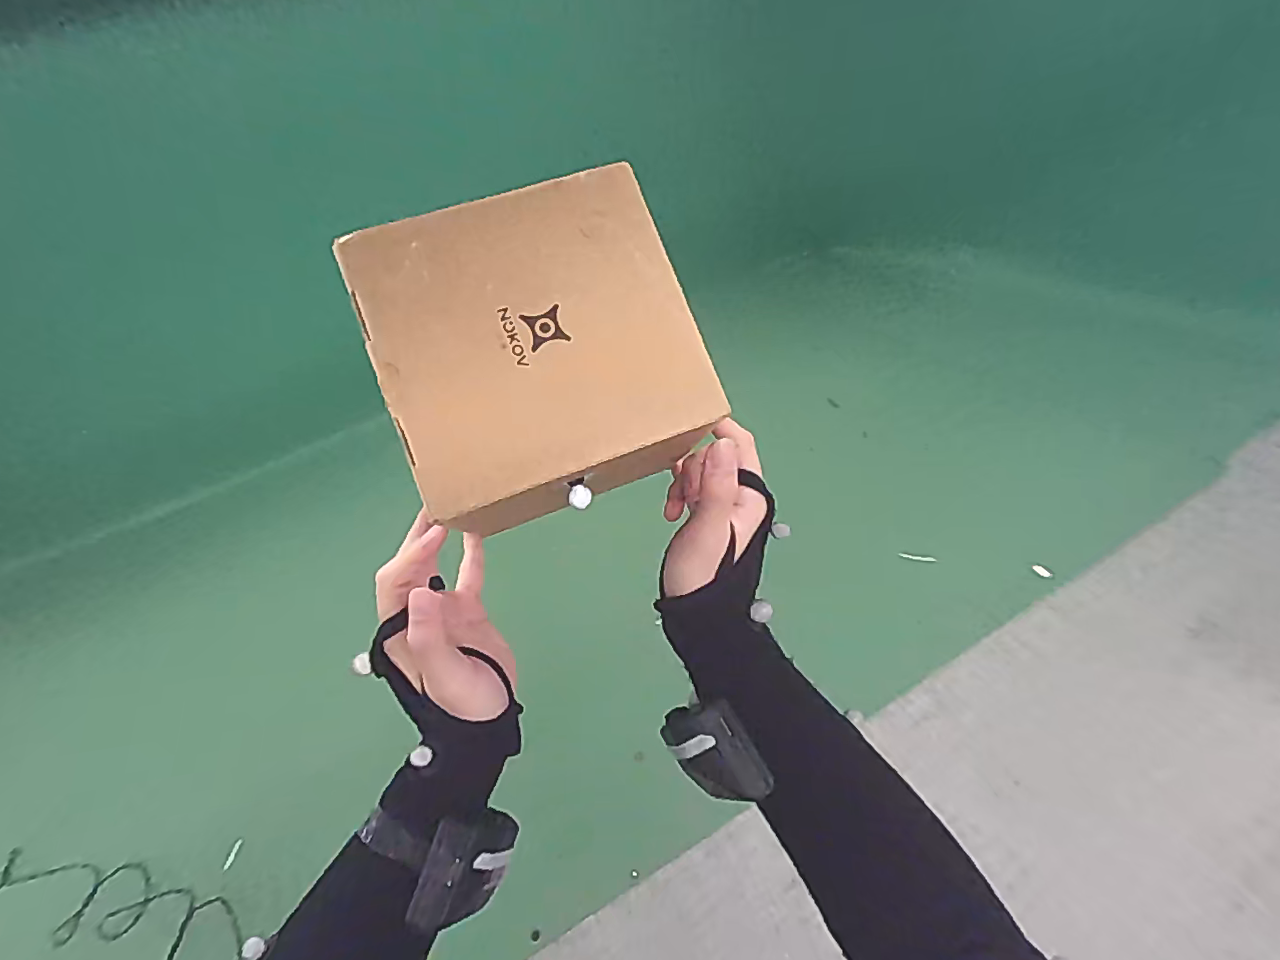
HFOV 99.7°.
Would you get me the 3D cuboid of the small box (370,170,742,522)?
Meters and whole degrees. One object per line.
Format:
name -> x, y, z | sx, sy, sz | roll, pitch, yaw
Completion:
small box -> -0.055, -0.076, 0.389 | 0.179, 0.168, 0.176 | -20, -6, -9
